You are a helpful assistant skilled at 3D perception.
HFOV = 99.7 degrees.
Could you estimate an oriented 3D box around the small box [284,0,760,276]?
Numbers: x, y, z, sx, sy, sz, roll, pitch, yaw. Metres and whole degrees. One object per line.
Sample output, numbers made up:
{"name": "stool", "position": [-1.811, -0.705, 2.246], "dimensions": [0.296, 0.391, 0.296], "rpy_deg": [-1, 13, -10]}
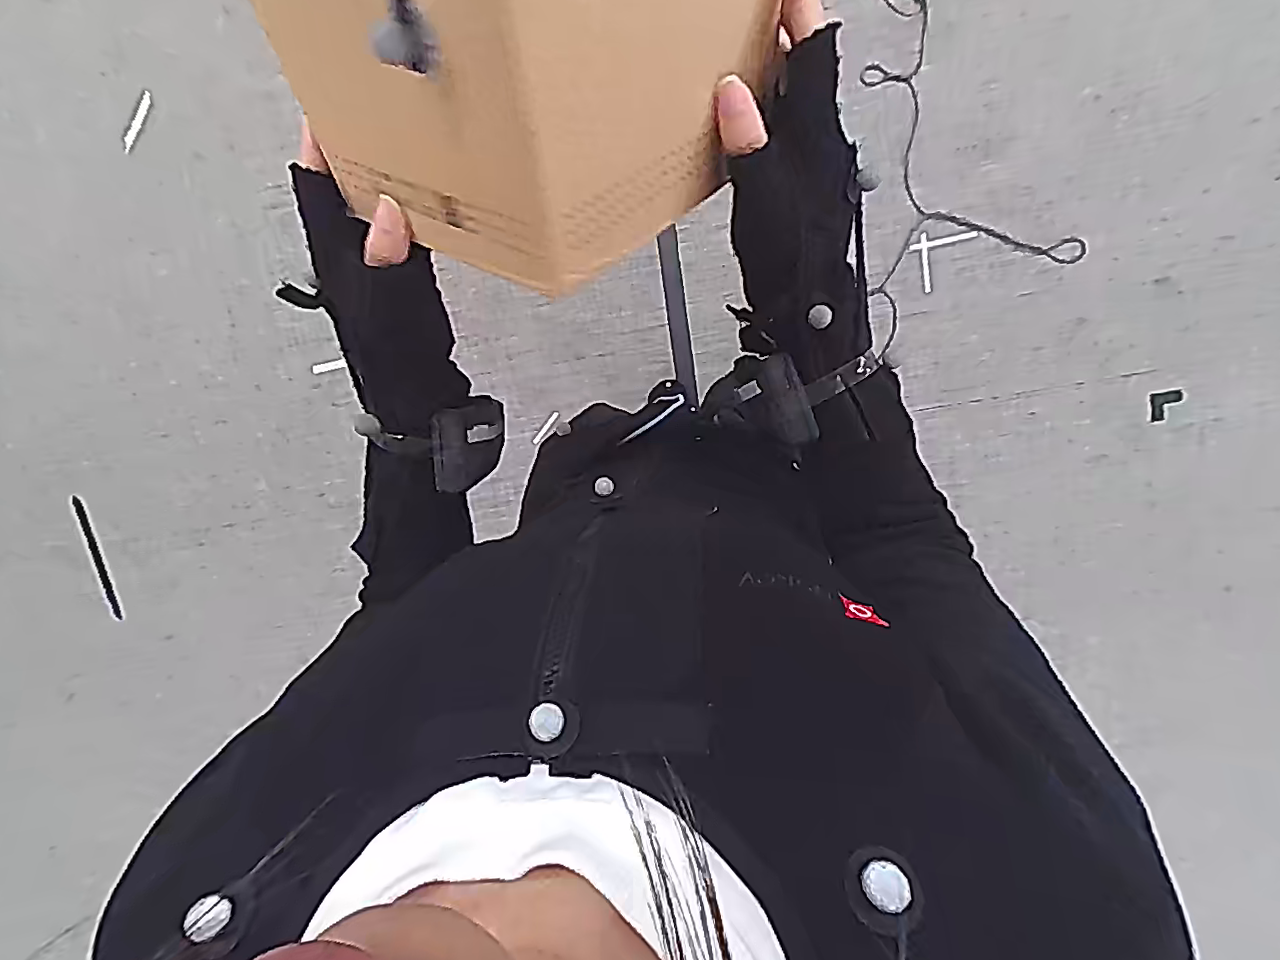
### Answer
{"name": "small box", "position": [-0.051, -0.225, 0.259], "dimensions": [0.168, 0.176, 0.179], "rpy_deg": [33, 60, 29]}
